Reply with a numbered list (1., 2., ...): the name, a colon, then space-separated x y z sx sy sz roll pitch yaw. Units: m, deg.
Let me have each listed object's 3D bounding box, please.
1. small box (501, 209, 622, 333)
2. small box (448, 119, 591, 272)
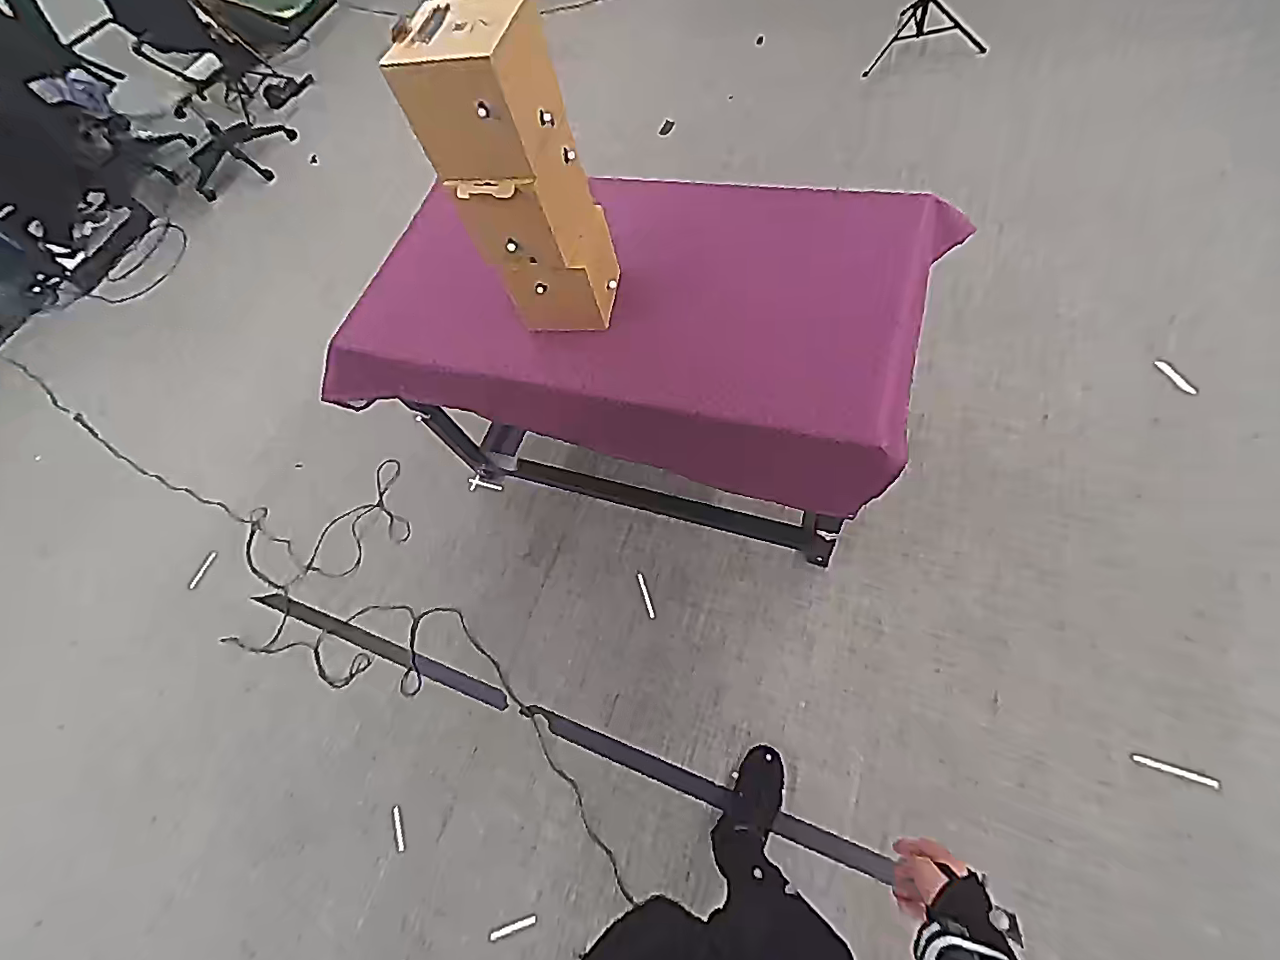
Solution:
1. small box: -0.148 -0.413 1.086 0.179 0.176 0.168 4 65 13
2. small box: -0.198 -0.495 0.950 0.168 0.176 0.179 8 66 17
